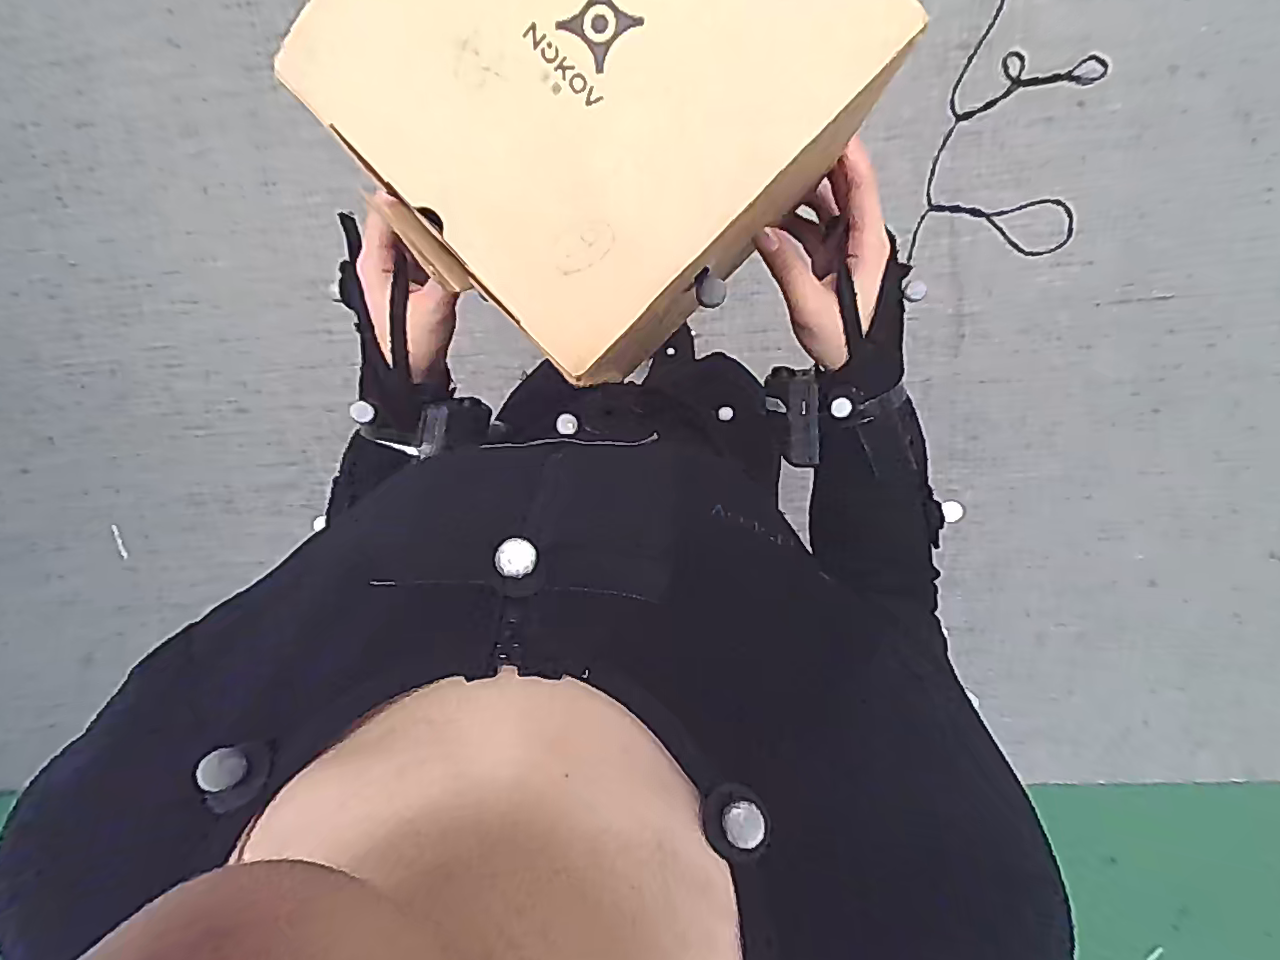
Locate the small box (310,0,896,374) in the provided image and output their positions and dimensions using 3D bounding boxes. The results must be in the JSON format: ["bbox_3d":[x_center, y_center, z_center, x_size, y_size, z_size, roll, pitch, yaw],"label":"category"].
[{"bbox_3d":[-0.012,-0.172,0.287,0.179,0.176,0.168,-44,94,11],"label":"small box"}]
